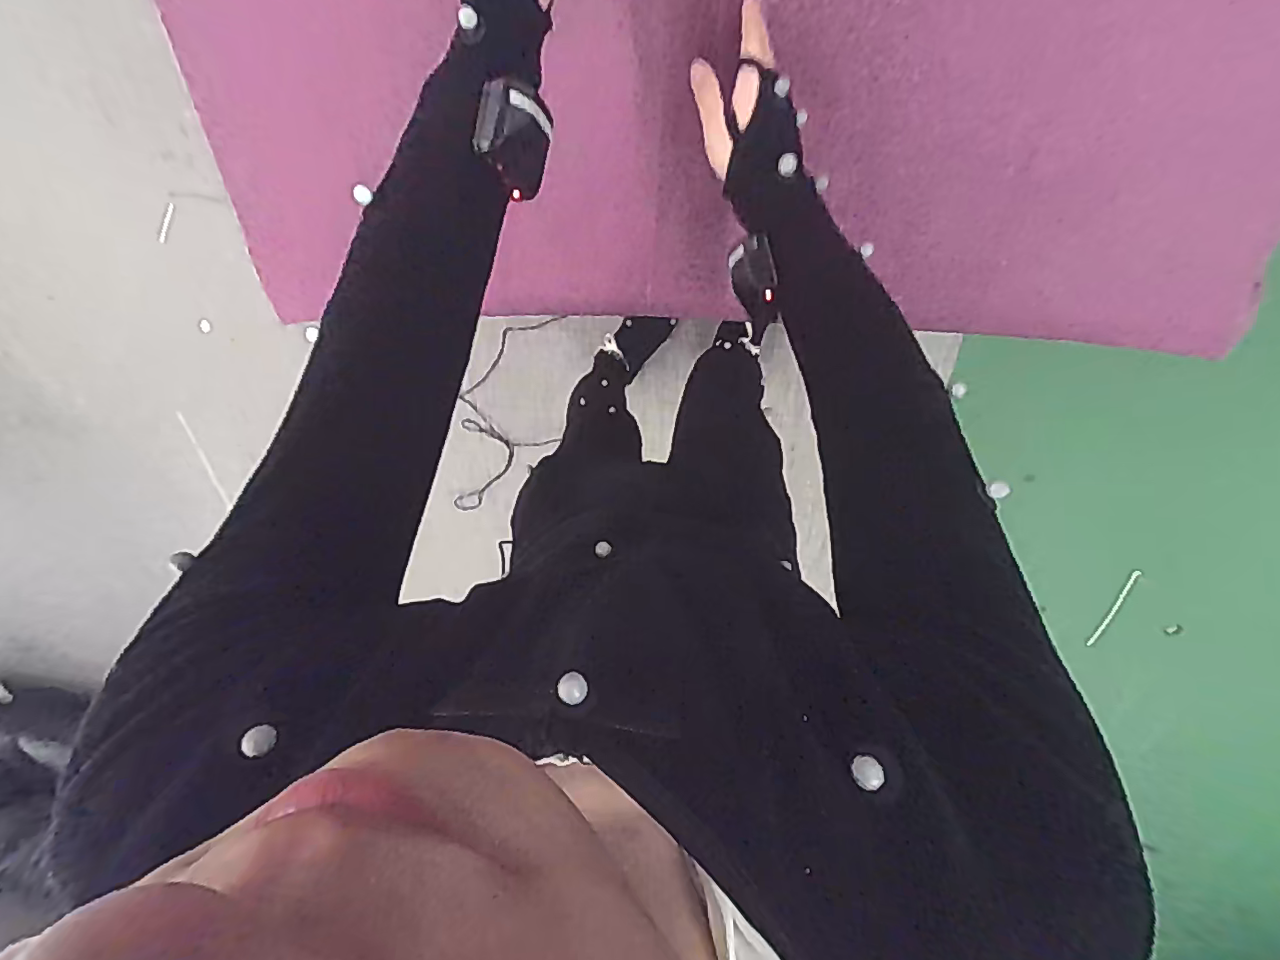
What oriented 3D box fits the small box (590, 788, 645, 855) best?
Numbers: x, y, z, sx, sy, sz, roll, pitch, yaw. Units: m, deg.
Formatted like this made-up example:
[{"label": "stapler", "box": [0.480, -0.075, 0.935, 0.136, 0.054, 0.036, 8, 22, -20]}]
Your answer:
[{"label": "small box", "box": [-0.078, 1.245, 1.940, 0.168, 0.176, 0.179, 8, 125, 8]}]
